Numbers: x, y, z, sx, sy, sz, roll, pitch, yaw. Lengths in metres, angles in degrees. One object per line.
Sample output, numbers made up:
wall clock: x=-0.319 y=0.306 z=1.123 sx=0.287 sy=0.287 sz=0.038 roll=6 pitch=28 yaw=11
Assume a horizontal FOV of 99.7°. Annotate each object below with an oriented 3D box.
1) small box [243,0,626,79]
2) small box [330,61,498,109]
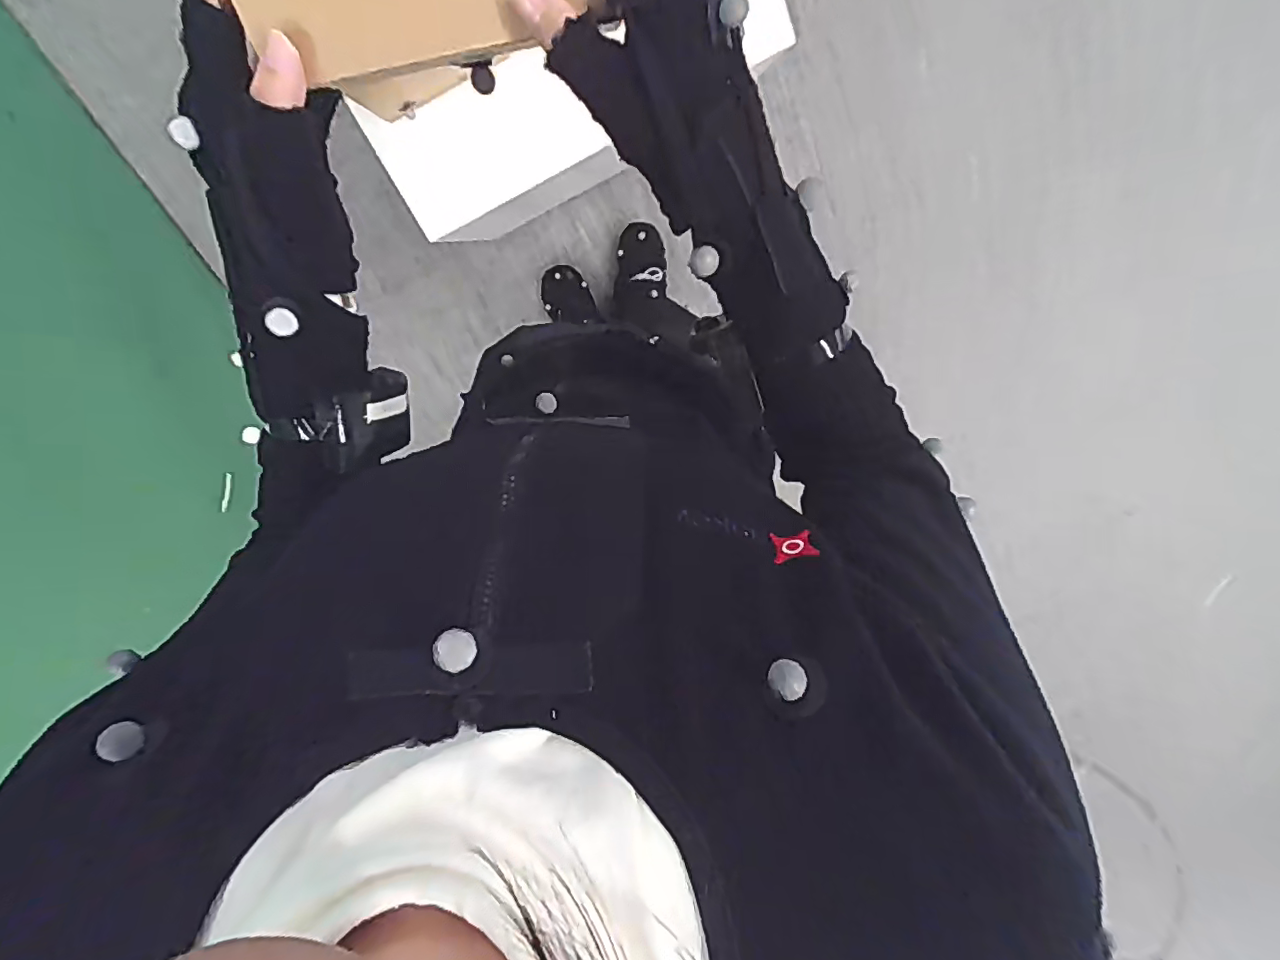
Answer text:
small box: x=-0.102 y=-0.312 z=0.258 sx=0.168 sy=0.176 sz=0.179 roll=-8 pitch=128 yaw=5
small box: x=-0.247 y=-0.497 z=0.528 sx=0.168 sy=0.176 sz=0.179 roll=-25 pitch=113 yaw=5
